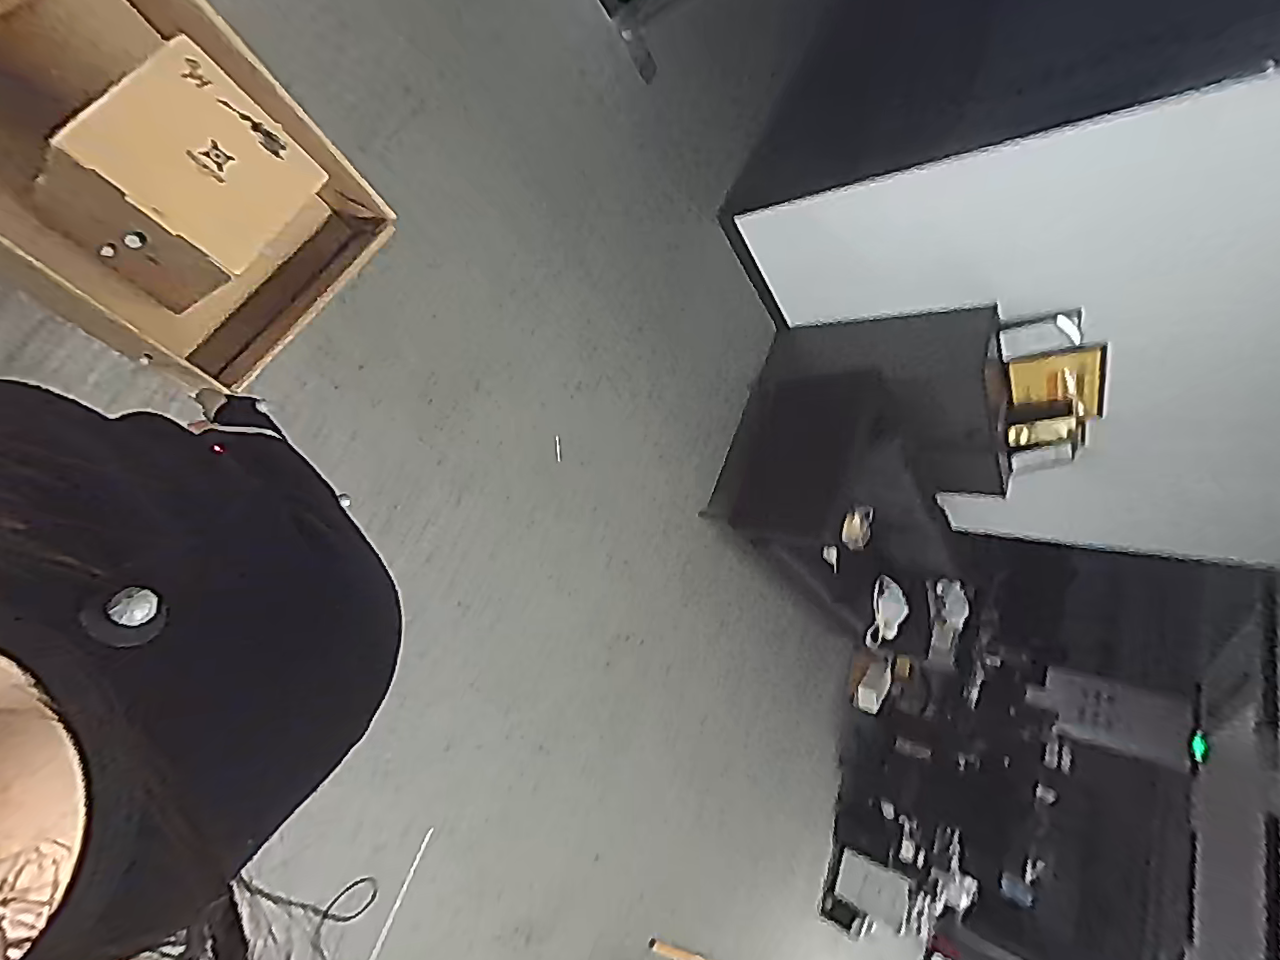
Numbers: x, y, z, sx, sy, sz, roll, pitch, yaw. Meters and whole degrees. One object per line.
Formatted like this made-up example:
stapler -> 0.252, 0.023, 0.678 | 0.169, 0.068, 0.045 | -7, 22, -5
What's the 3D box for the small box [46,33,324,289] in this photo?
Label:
small box -> -0.516, -0.346, 0.623 | 0.168, 0.176, 0.179 | 46, 62, -42
